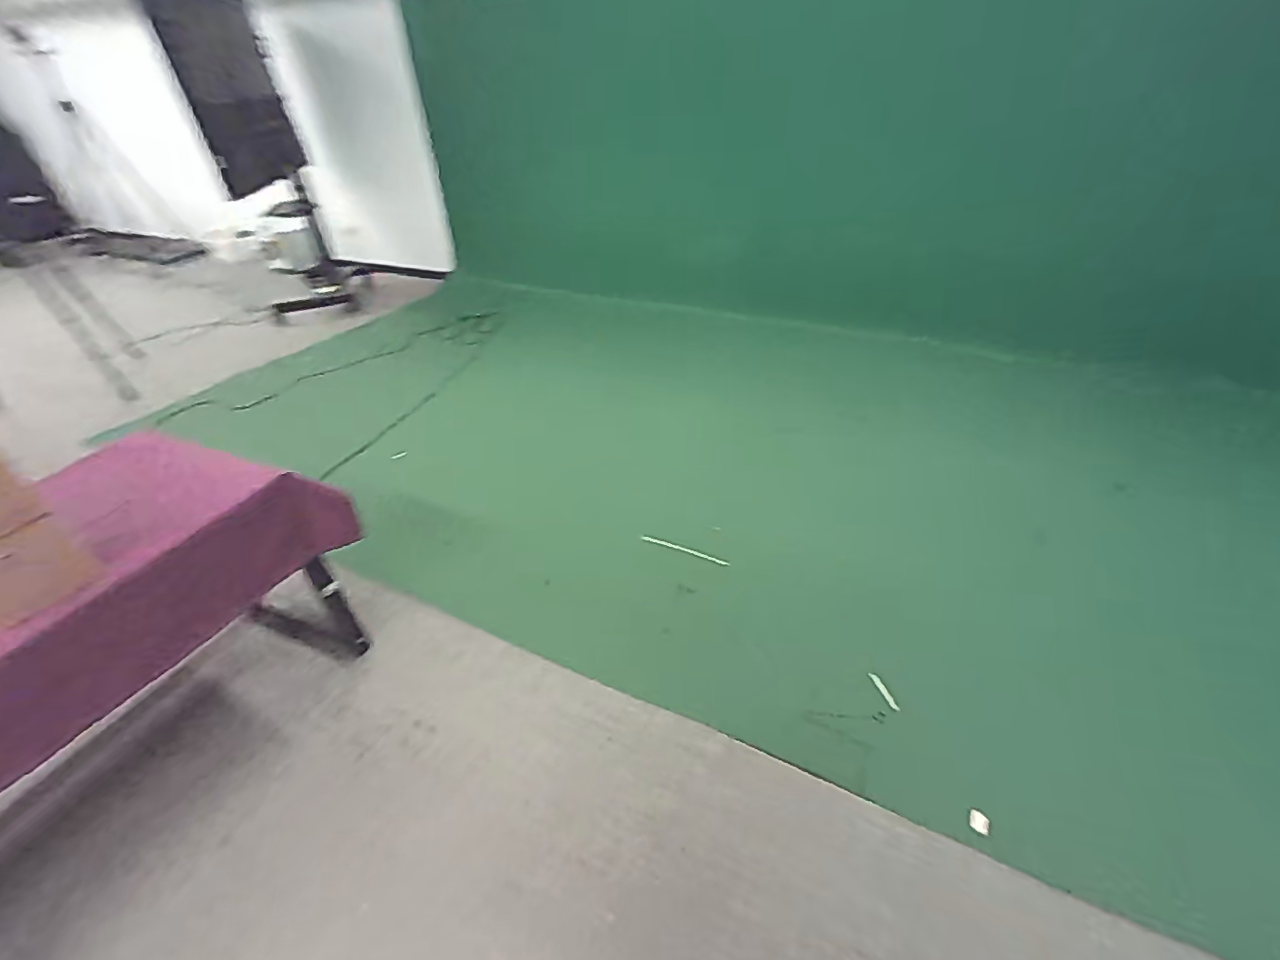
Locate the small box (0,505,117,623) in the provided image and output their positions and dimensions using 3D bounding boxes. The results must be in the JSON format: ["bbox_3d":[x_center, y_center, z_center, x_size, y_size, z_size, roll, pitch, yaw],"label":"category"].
[{"bbox_3d":[-1.221,0.153,1.075,0.168,0.176,0.179,14,40,22],"label":"small box"}]
